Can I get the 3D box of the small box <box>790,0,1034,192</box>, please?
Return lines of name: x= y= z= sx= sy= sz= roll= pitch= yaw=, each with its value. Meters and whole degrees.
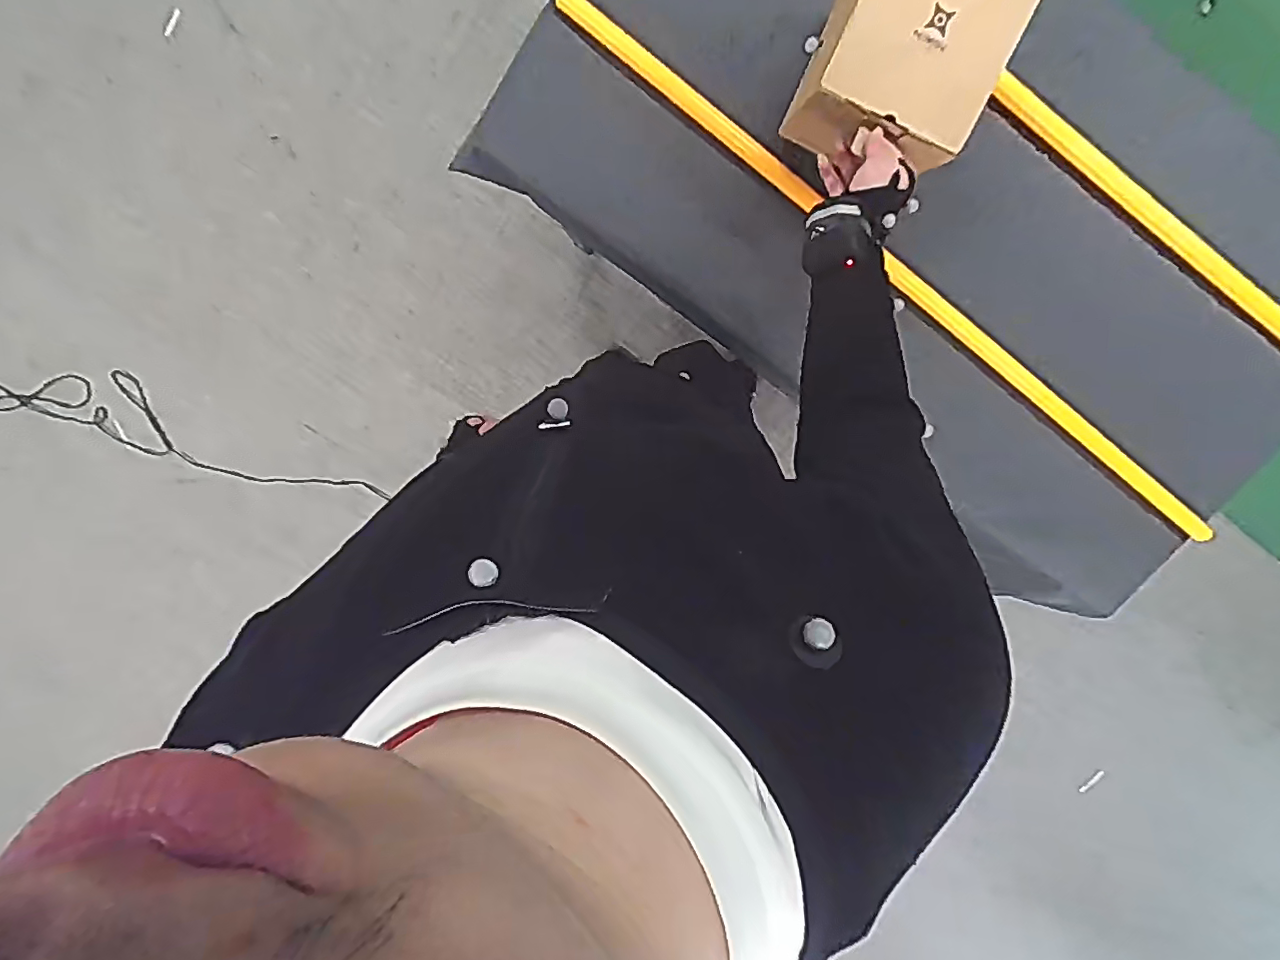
small box: x=0.288 y=-0.459 z=0.620 sx=0.168 sy=0.176 sz=0.179 roll=20 pitch=107 yaw=-4
